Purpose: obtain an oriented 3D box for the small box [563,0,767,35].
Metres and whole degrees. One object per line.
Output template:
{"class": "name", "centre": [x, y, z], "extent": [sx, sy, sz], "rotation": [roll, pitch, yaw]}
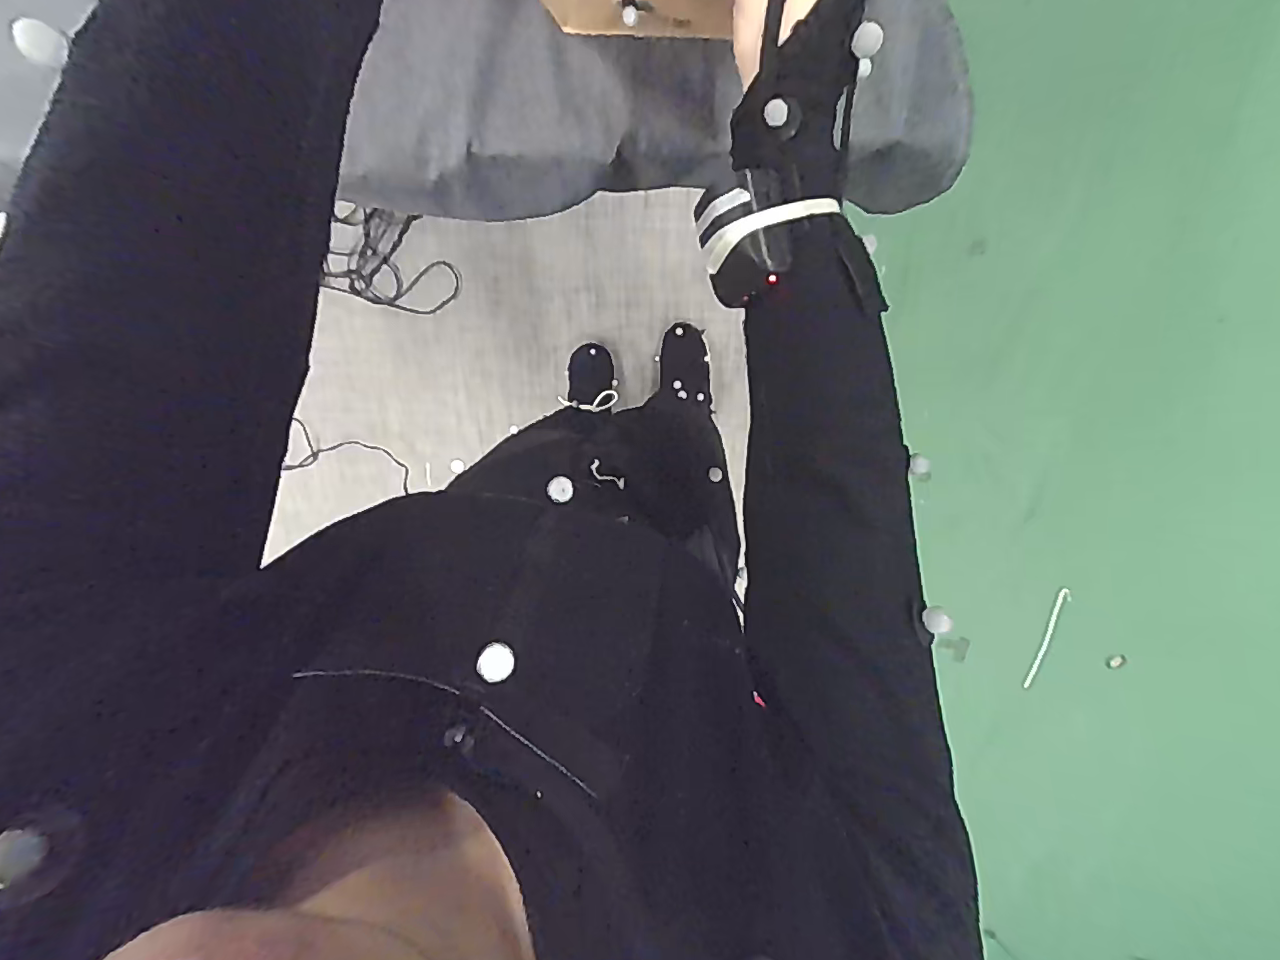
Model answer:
{"class": "small box", "centre": [0.011, -0.412, 0.329], "extent": [0.168, 0.176, 0.179], "rotation": [7, 114, 7]}
